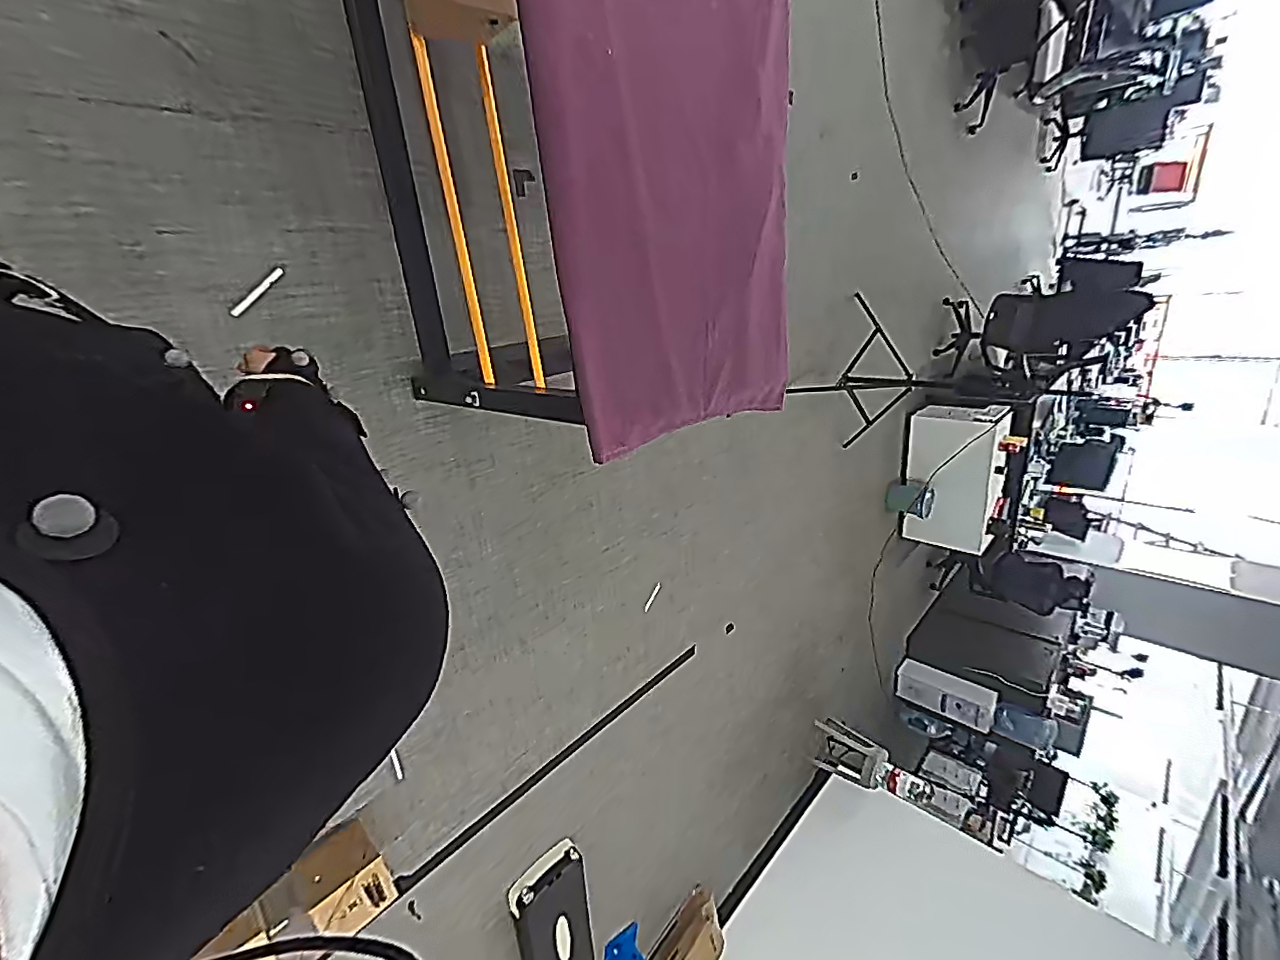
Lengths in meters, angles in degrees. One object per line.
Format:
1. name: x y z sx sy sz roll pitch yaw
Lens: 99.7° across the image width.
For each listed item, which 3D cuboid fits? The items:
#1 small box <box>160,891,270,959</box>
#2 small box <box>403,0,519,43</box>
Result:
1. small box: -0.955 1.102 1.228 0.168 0.176 0.179 -20 113 -42
2. small box: -0.381 -1.041 1.119 0.179 0.176 0.168 -26 118 -38
